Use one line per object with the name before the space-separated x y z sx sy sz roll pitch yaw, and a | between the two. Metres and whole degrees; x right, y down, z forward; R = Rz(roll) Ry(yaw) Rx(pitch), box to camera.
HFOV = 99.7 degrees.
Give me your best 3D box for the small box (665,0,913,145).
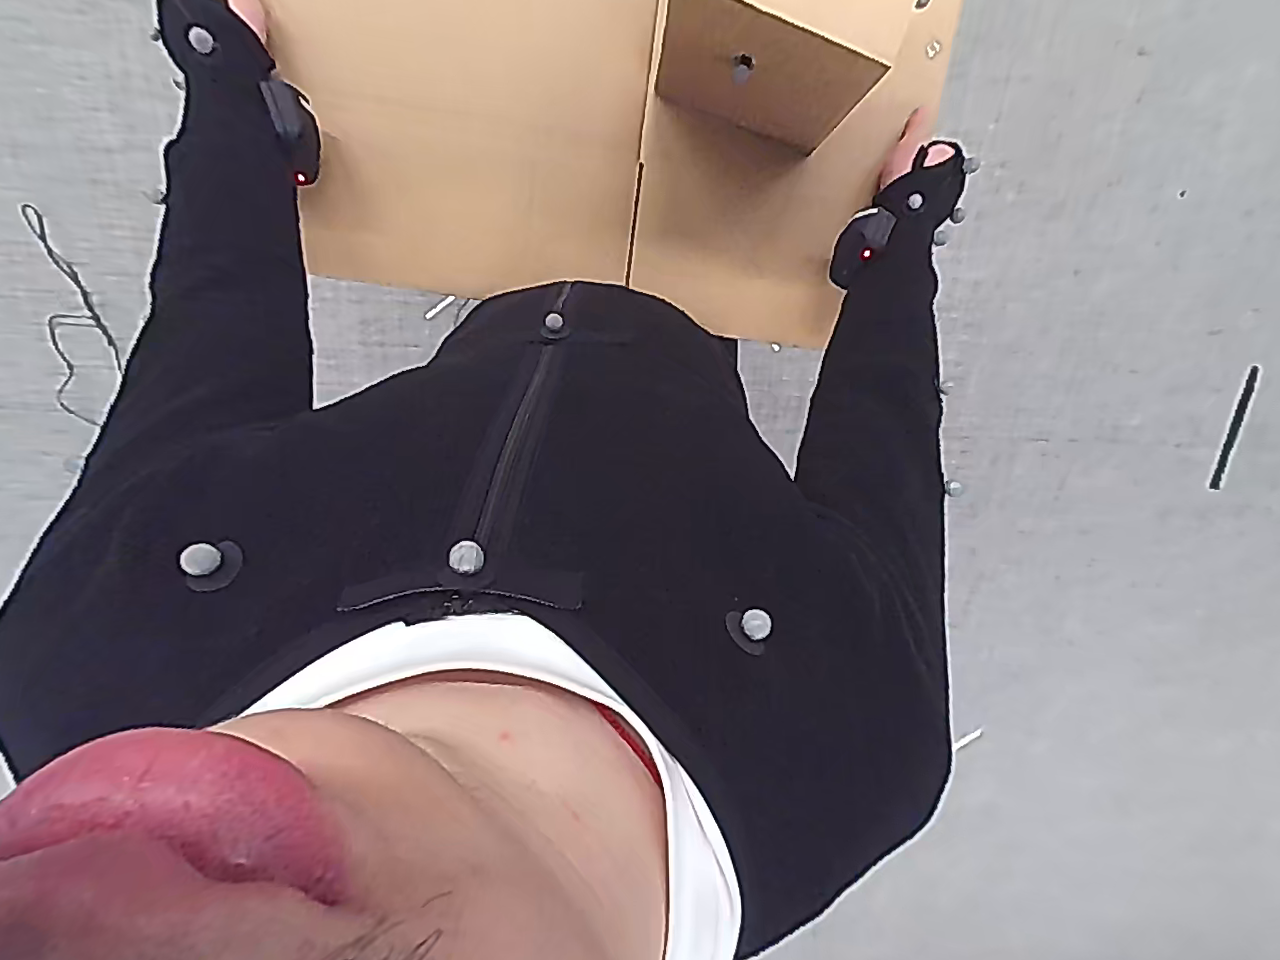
small box | 0.128 -0.426 0.465 0.179 0.176 0.168 17 100 -5
